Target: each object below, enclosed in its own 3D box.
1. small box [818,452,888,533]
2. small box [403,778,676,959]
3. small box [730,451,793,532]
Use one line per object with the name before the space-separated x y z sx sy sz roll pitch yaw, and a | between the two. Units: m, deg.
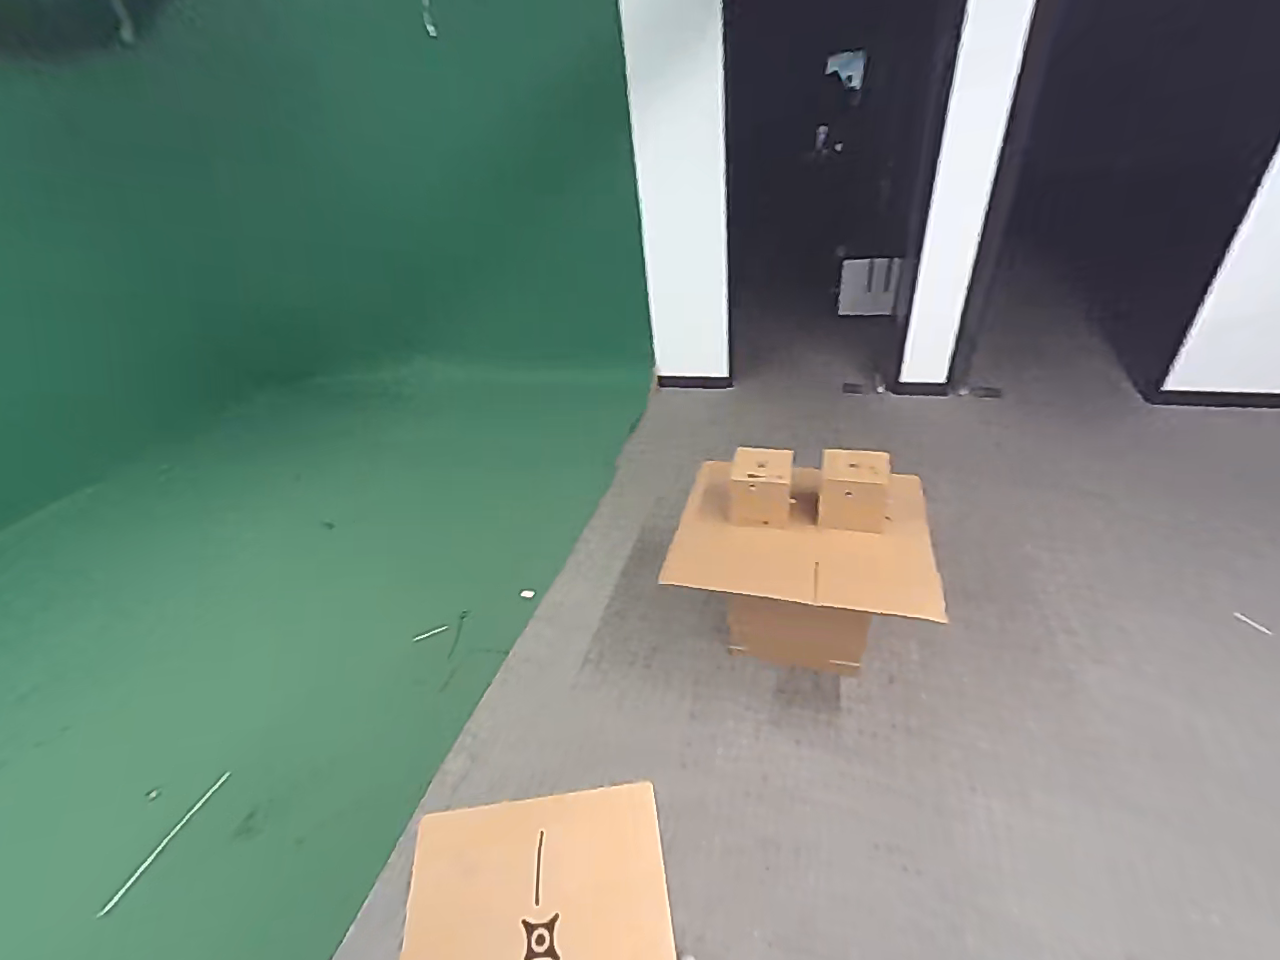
small box | 0.608 0.034 1.550 0.179 0.176 0.168 5 36 20
small box | -0.058 0.340 0.383 0.168 0.176 0.179 -6 44 -4
small box | 0.360 0.030 1.604 0.168 0.176 0.179 3 35 17
